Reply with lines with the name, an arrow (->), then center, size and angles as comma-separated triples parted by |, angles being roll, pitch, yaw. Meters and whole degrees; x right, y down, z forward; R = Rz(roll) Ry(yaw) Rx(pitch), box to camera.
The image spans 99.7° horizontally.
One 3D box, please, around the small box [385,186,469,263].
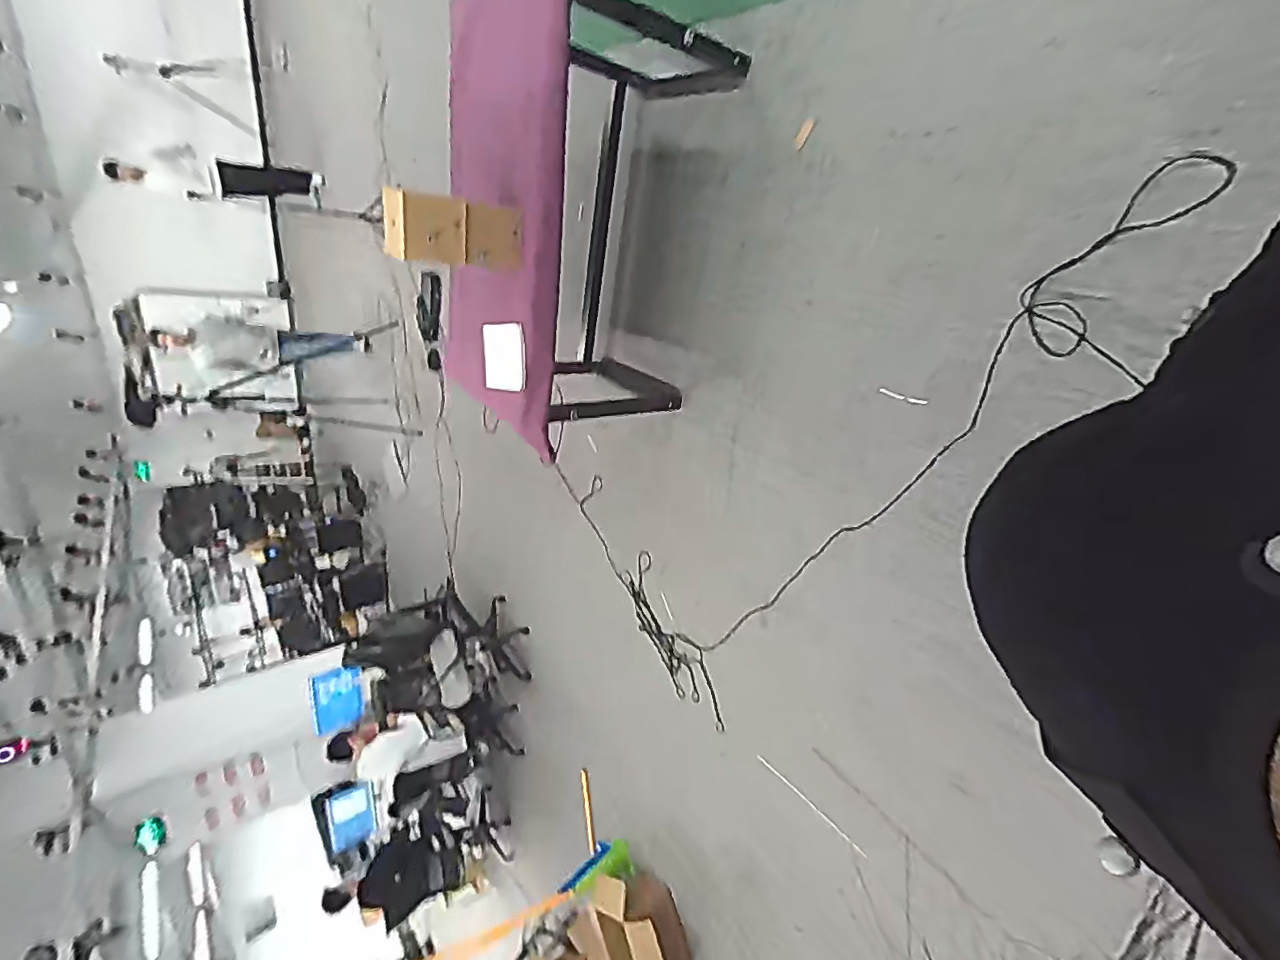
small box -> -0.574, -0.688, 1.462 | 0.179, 0.176, 0.168 | 36, 126, 43
